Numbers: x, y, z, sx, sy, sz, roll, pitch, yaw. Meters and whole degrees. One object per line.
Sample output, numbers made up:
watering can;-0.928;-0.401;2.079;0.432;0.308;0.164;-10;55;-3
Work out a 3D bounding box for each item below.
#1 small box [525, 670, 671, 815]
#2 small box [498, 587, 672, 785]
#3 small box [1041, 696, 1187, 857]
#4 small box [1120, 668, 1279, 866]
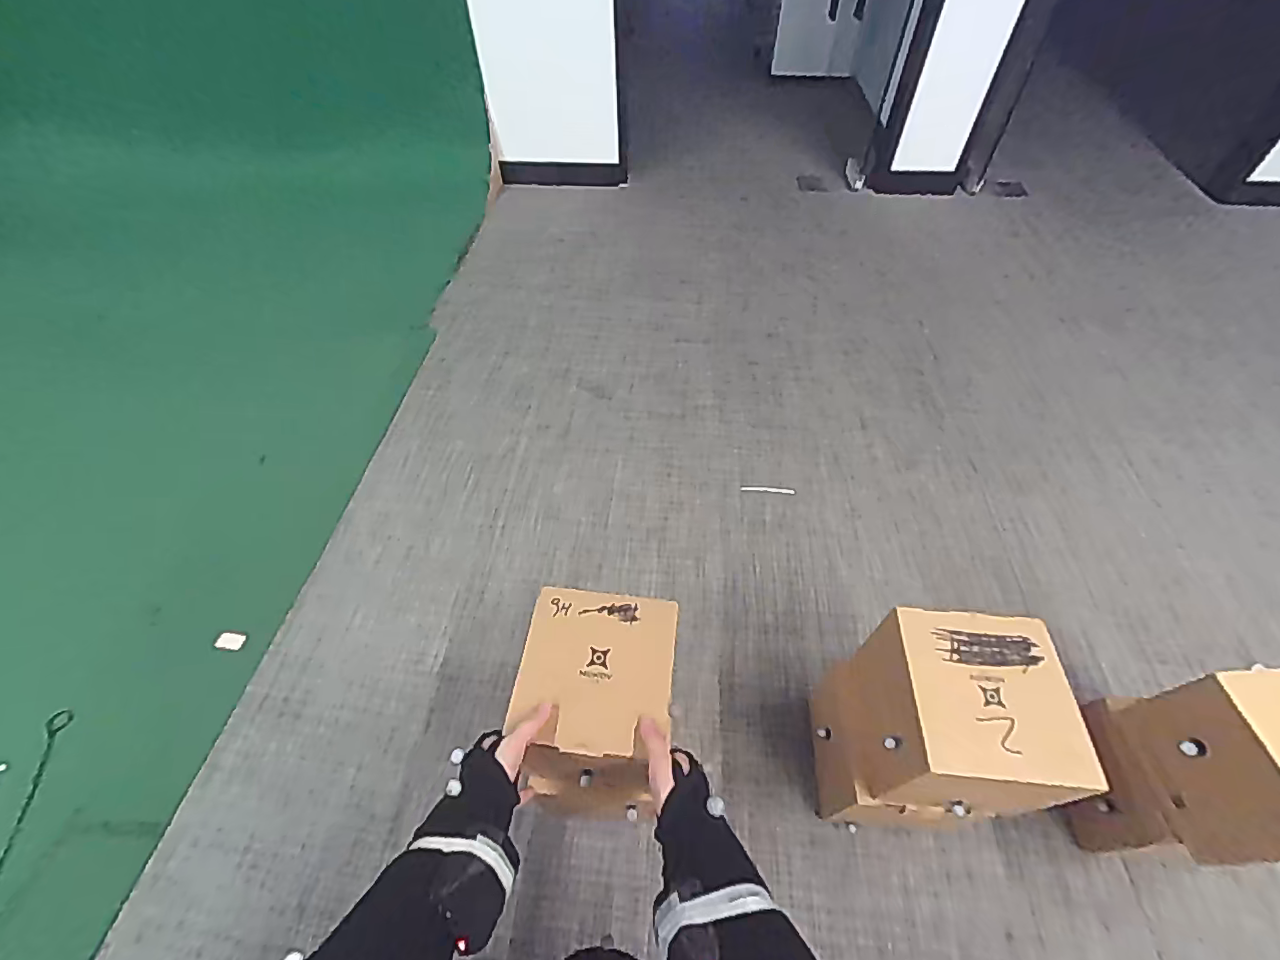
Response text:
small box;-0.050;0.369;0.771;0.179;0.176;0.168;3;51;3
small box;-0.052;0.253;0.654;0.168;0.176;0.179;6;53;5
small box;0.691;0.404;0.731;0.179;0.176;0.168;2;53;2
small box;0.690;0.316;0.593;0.179;0.176;0.168;-2;52;-1
